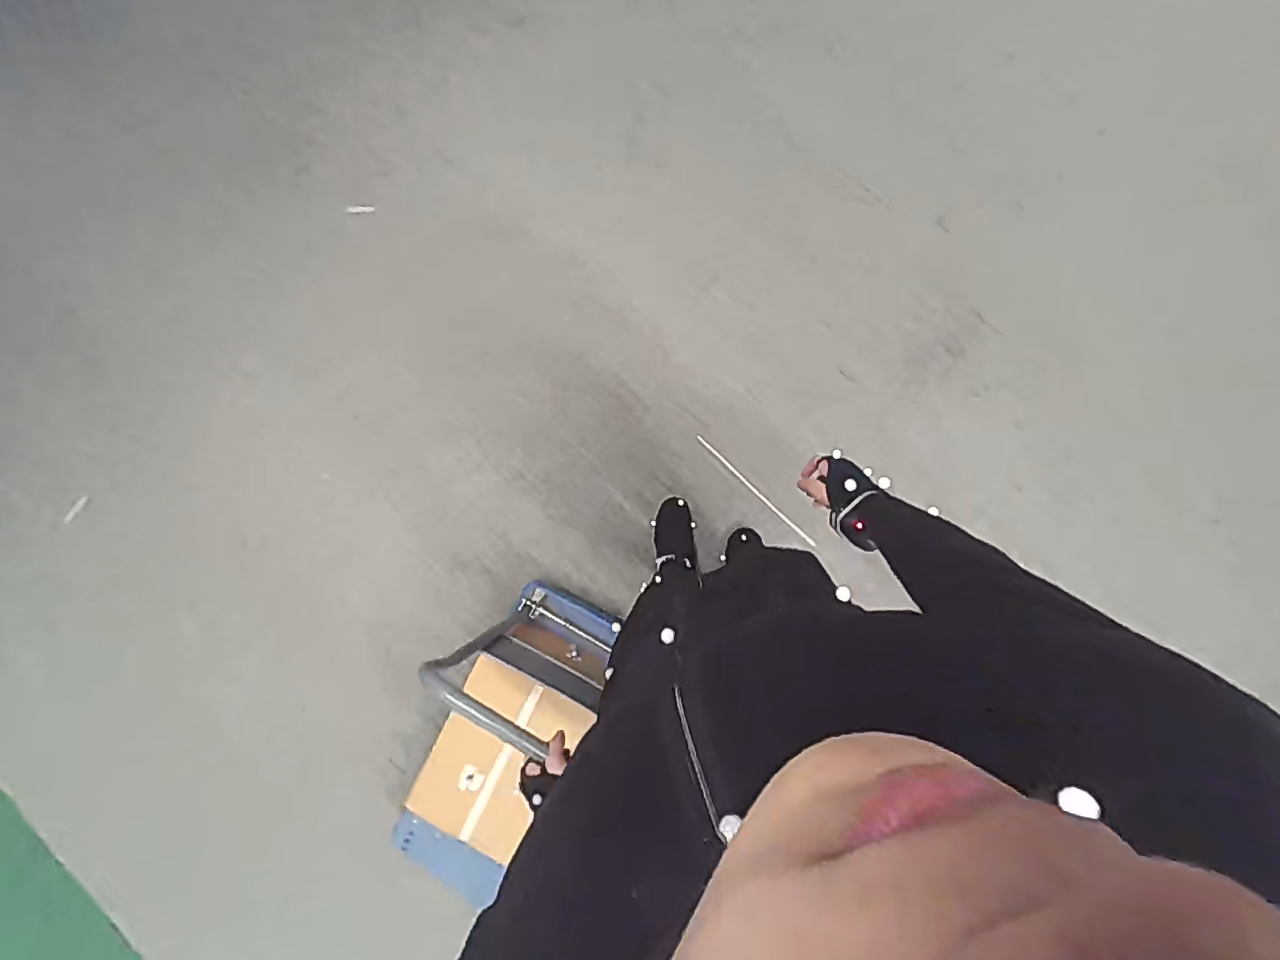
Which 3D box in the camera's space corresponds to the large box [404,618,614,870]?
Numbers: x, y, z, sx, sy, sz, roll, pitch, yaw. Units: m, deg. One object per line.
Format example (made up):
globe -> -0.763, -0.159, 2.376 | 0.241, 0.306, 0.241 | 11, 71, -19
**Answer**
large box -> -0.298, 0.618, 1.344 | 0.320, 0.320, 0.408 | 27, 92, 5
